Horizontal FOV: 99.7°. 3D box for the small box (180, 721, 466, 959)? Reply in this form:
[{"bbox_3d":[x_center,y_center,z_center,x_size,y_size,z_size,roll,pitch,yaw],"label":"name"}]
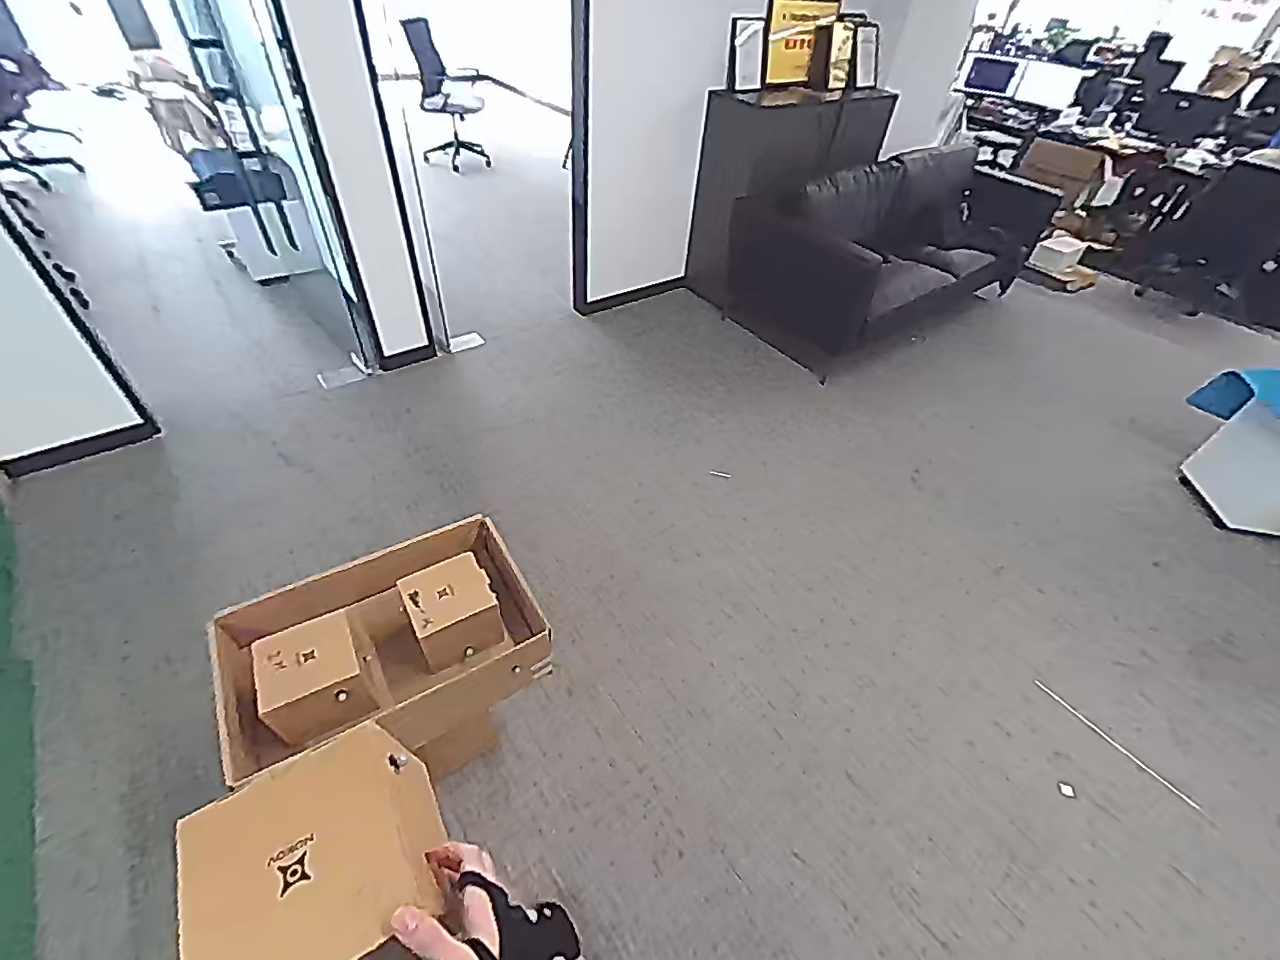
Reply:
[{"bbox_3d":[-0.282,0.368,0.505,0.168,0.176,0.179,-25,52,-20],"label":"small box"}]
